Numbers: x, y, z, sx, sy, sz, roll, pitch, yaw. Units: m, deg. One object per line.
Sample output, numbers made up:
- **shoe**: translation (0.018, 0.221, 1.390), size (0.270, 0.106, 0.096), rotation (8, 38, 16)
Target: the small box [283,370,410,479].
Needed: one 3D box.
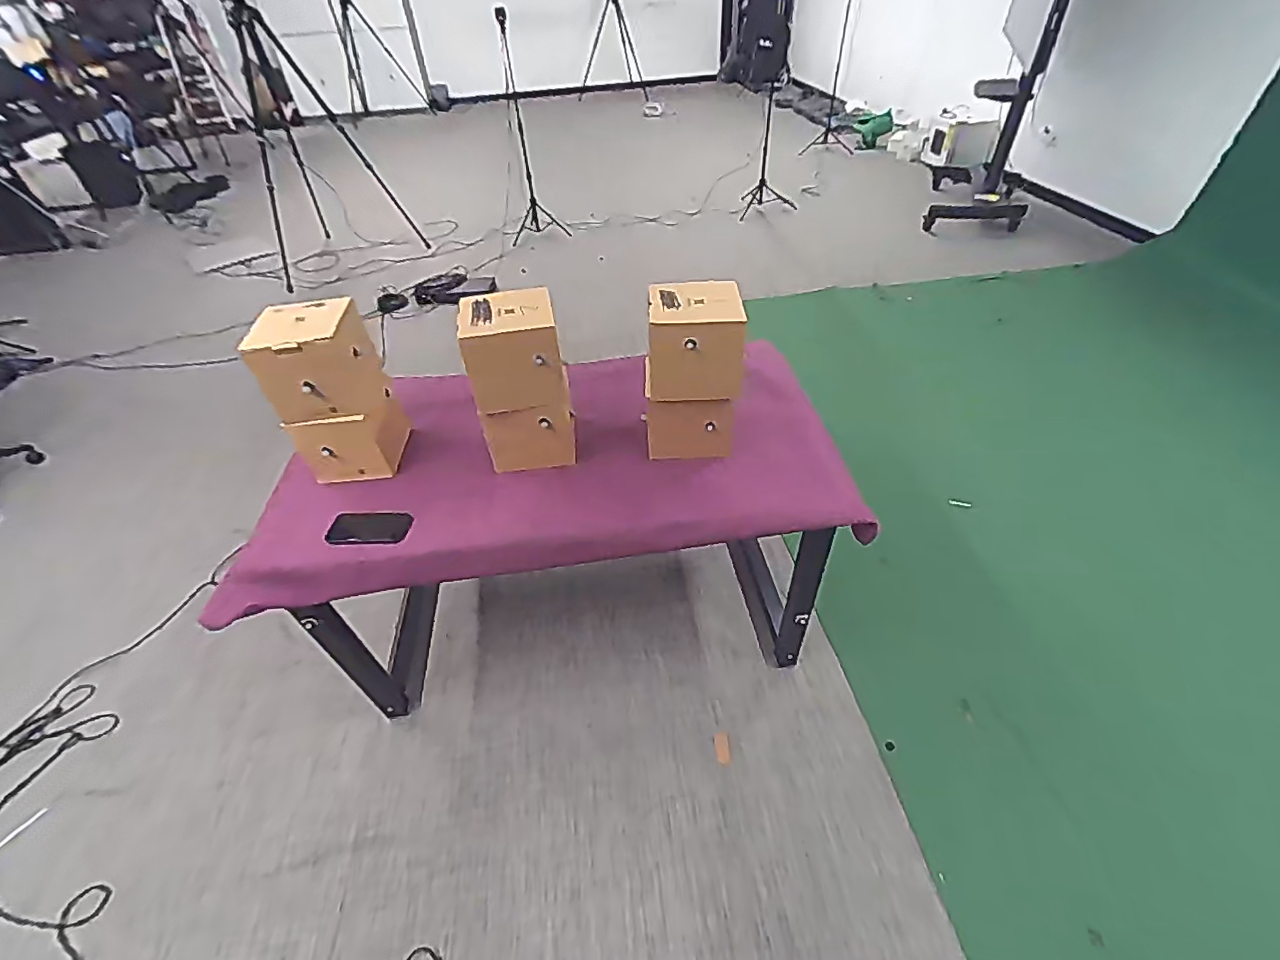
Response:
- **small box**: translation (-0.625, -0.115, 1.181), size (0.168, 0.176, 0.179), rotation (-6, 44, -1)

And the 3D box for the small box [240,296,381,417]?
- **small box**: translation (-0.636, -0.239, 1.073), size (0.168, 0.176, 0.179), rotation (-9, 45, -5)

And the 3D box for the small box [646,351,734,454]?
- **small box**: translation (0.104, -0.170, 1.176), size (0.179, 0.176, 0.168), rotation (-2, 44, 3)

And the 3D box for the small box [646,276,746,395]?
- **small box**: translation (0.105, -0.278, 1.052), size (0.179, 0.176, 0.168), rotation (-2, 44, 2)

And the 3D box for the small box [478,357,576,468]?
- **small box**: translation (-0.235, -0.144, 1.176), size (0.179, 0.176, 0.168), rotation (-6, 44, -1)
